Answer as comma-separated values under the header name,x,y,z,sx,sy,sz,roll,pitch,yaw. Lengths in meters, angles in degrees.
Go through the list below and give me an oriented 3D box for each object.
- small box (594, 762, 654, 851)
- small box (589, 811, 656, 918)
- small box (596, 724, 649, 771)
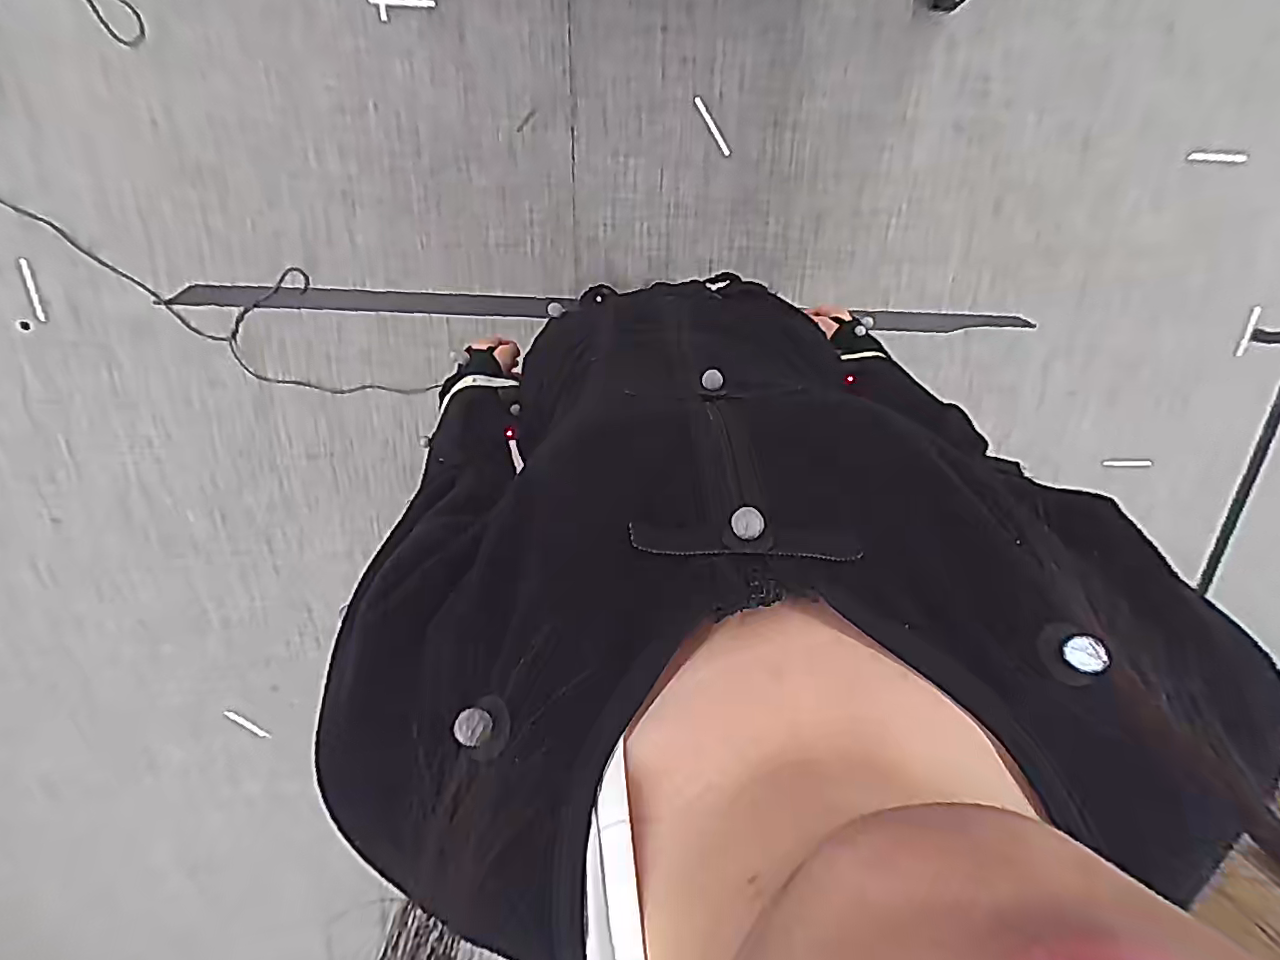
name,x,y,z,sx,sy,sz,roll,pitch,yaw
small box,-0.047,0.986,1.627,0.168,0.176,0.179,-5,111,-2
small box,-0.047,1.042,1.472,0.168,0.176,0.179,-5,110,-2
small box,-0.058,0.926,1.780,0.168,0.176,0.179,-4,110,-3
